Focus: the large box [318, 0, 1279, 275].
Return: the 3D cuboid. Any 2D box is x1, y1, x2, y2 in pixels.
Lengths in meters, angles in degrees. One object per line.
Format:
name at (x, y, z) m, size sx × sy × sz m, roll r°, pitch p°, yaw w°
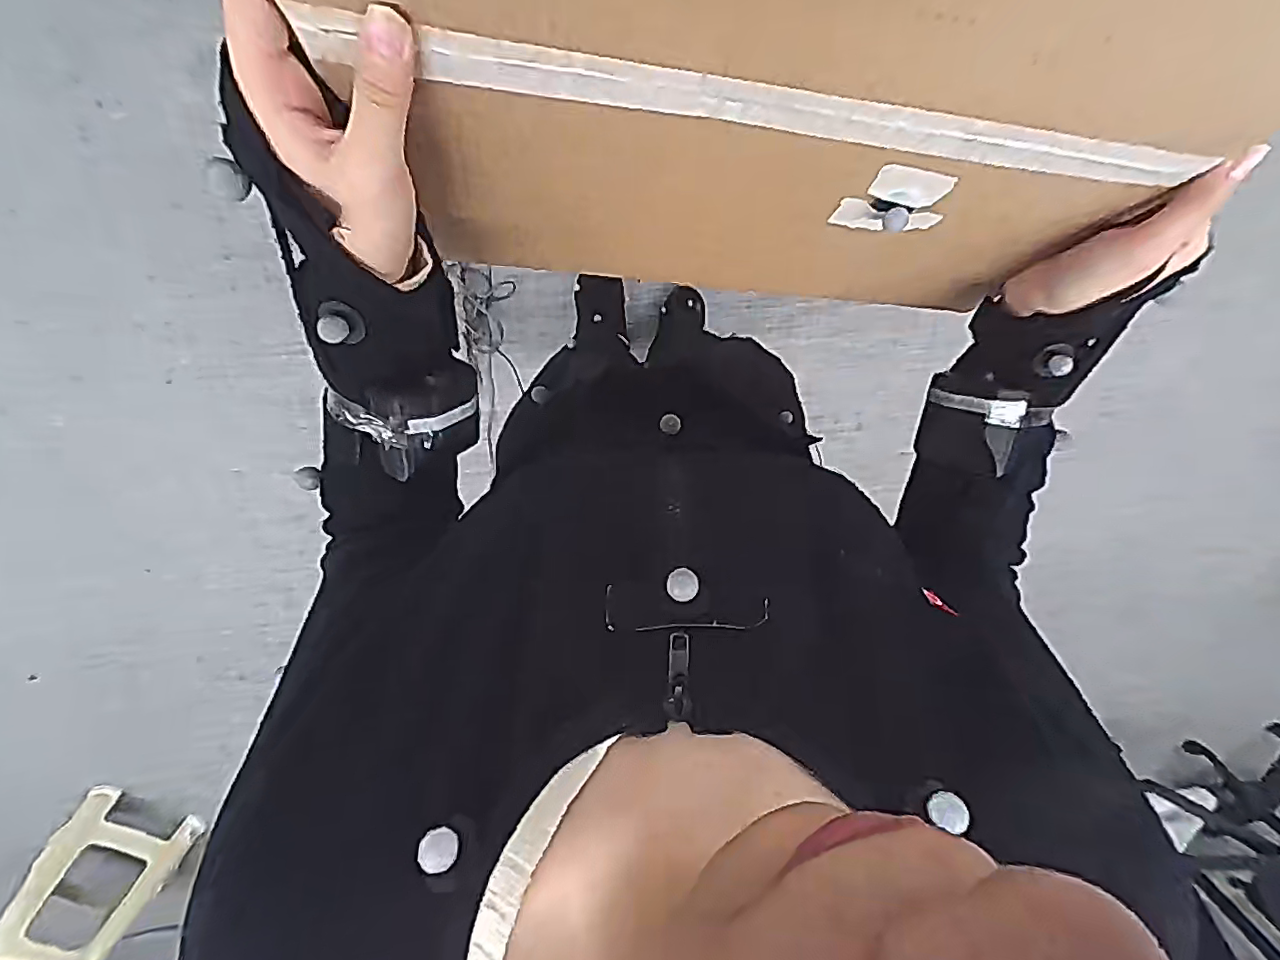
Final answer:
large box at (0.081, -0.318, 0.227) m, size 0.408 × 0.320 × 0.320 m, roll 1°, pitch 83°, yaw -10°
